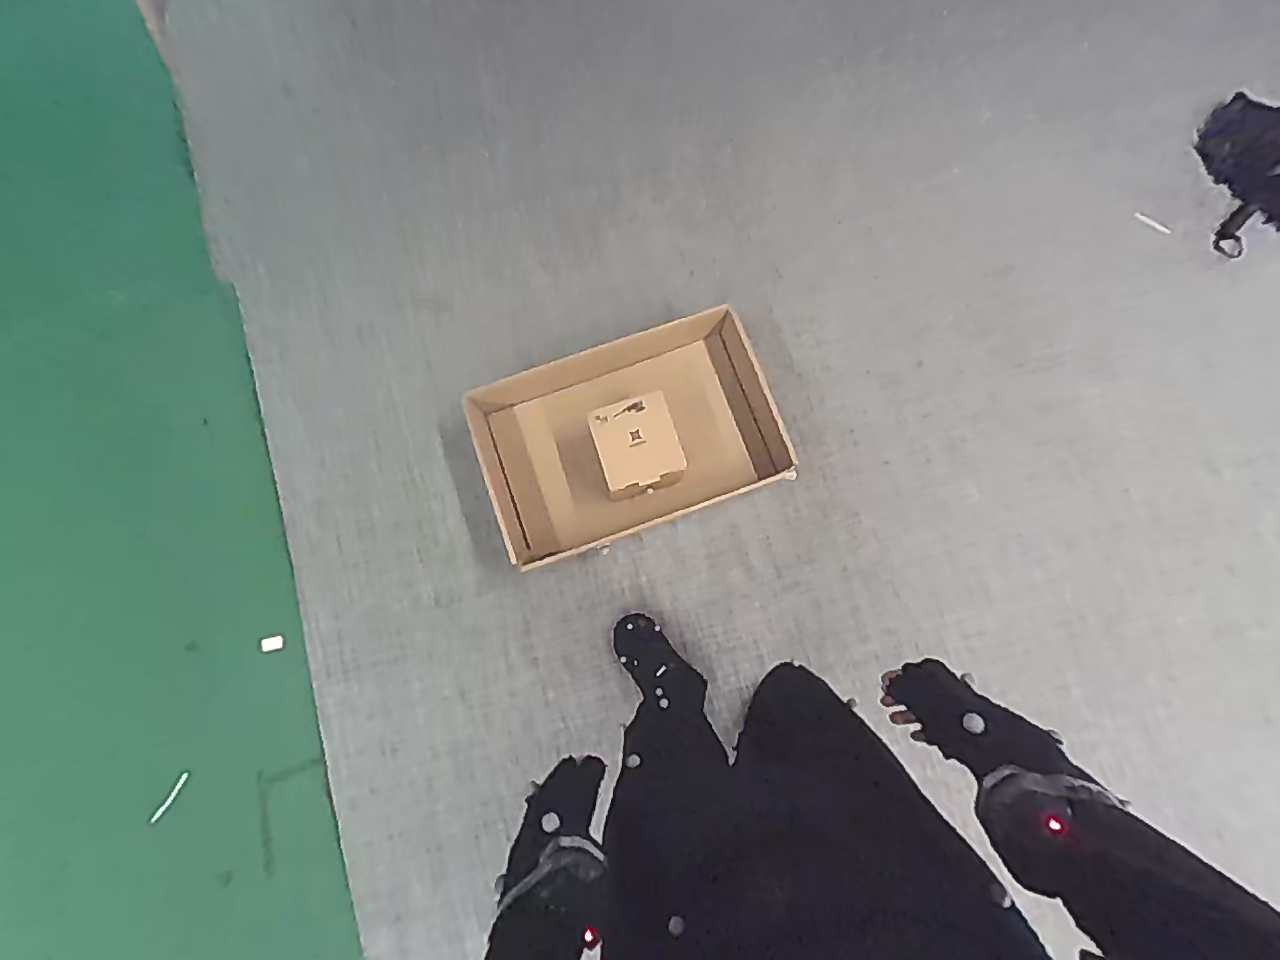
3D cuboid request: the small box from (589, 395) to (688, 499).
[{"bbox_3d":[-0.001,-0.062,1.176,0.168,0.176,0.179,-17,82,-2],"label":"small box"}]
